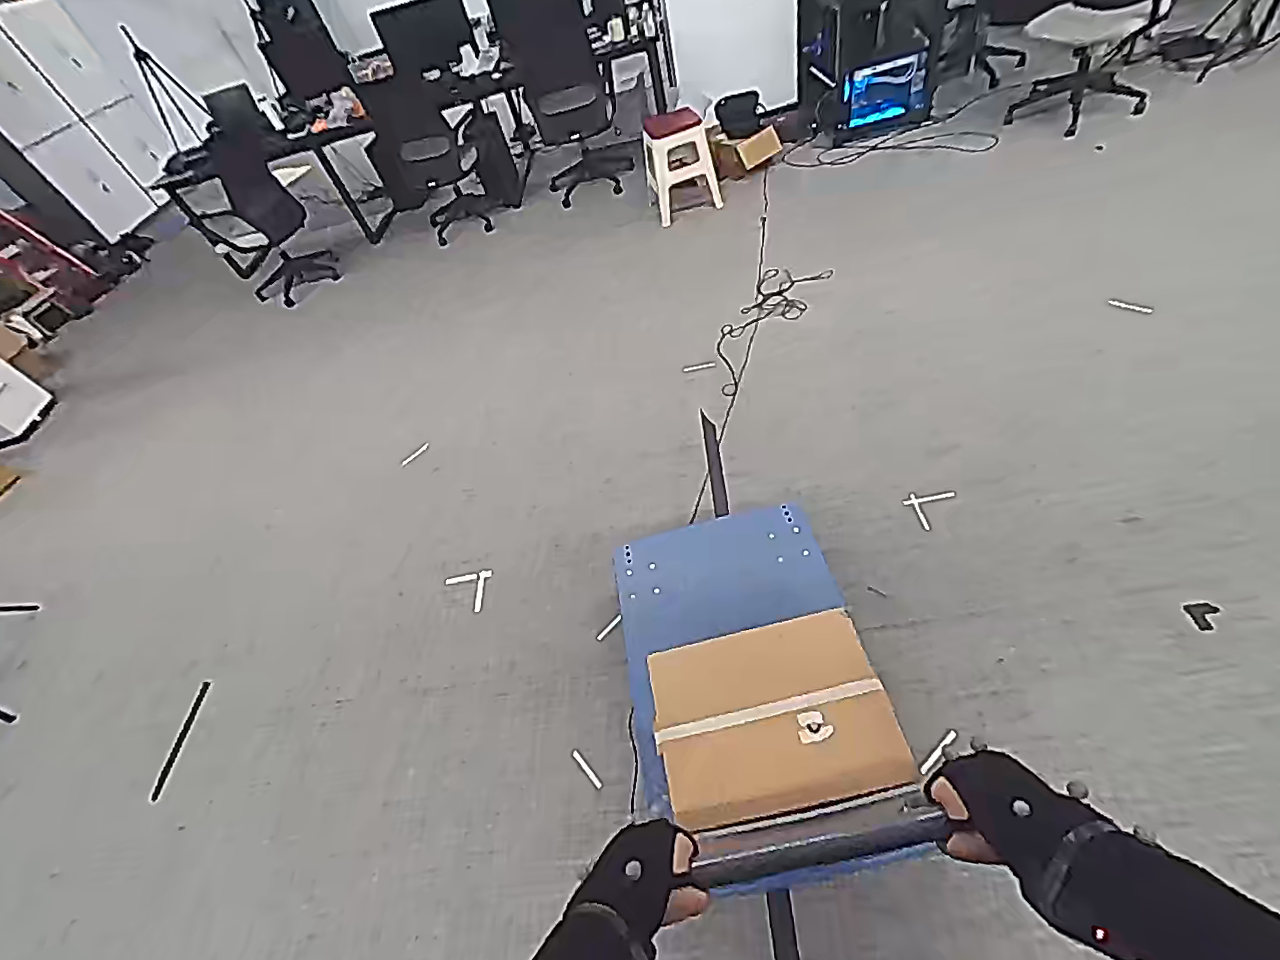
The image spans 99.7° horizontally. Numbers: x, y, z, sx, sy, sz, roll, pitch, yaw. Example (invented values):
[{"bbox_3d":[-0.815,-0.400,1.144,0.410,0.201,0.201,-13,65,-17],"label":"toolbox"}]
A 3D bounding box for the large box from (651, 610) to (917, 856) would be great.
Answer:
[{"bbox_3d":[0.266,0.516,1.091,0.408,0.320,0.320,-15,49,3],"label":"large box"}]
